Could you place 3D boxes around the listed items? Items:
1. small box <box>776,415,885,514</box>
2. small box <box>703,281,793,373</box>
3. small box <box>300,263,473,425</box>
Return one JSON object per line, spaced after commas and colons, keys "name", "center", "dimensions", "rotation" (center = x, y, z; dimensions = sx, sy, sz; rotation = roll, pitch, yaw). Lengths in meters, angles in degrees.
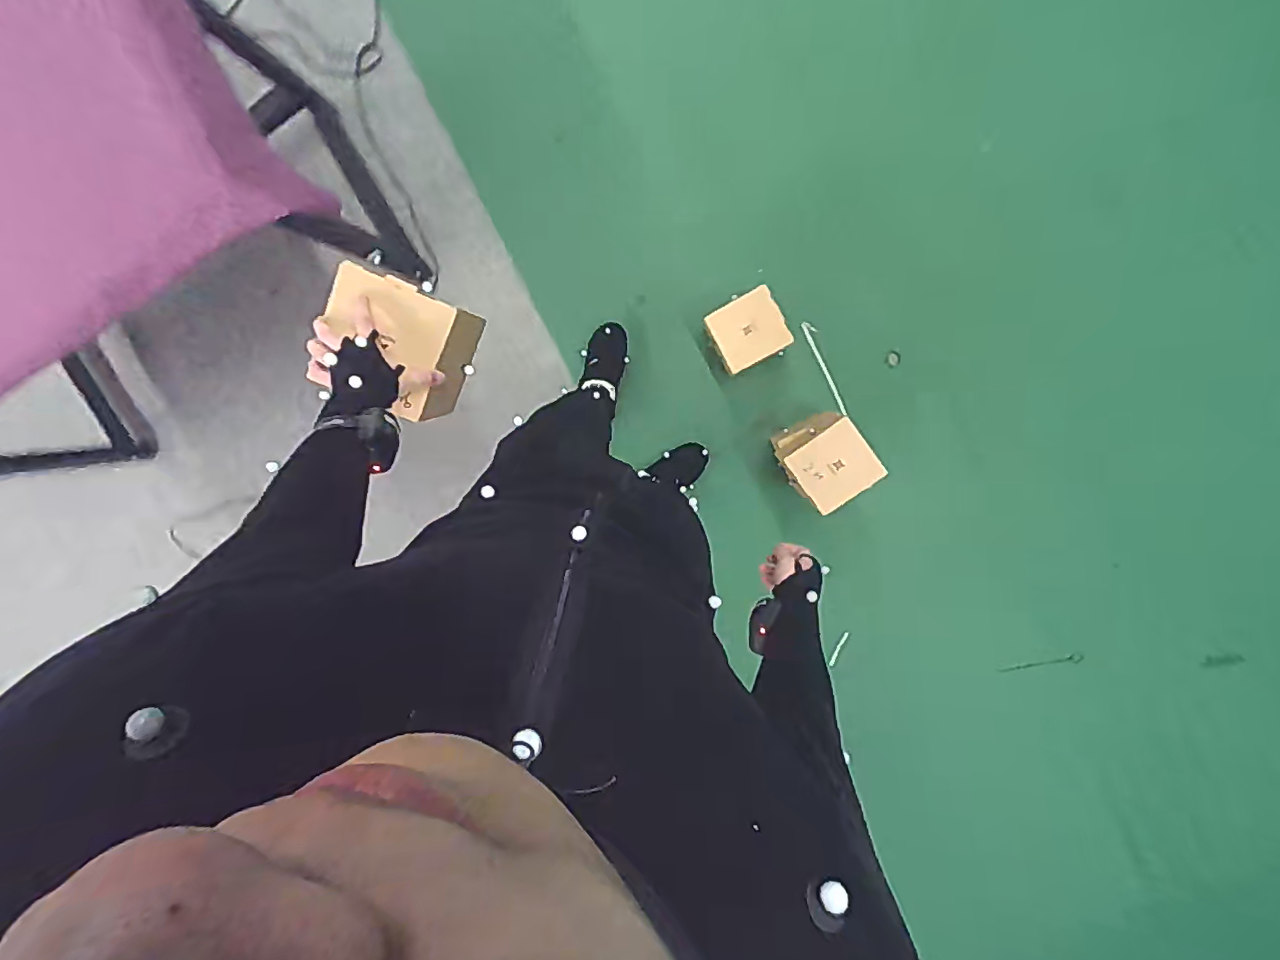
{"name": "small box", "center": [0.449, -0.045, 1.307], "dimensions": [0.179, 0.176, 0.168], "rotation": [-35, 93, 12]}
{"name": "small box", "center": [0.283, -0.397, 1.442], "dimensions": [0.179, 0.176, 0.168], "rotation": [-27, 94, 9]}
{"name": "small box", "center": [-0.374, -0.202, 0.832], "dimensions": [0.168, 0.176, 0.179], "rotation": [22, 100, -6]}
